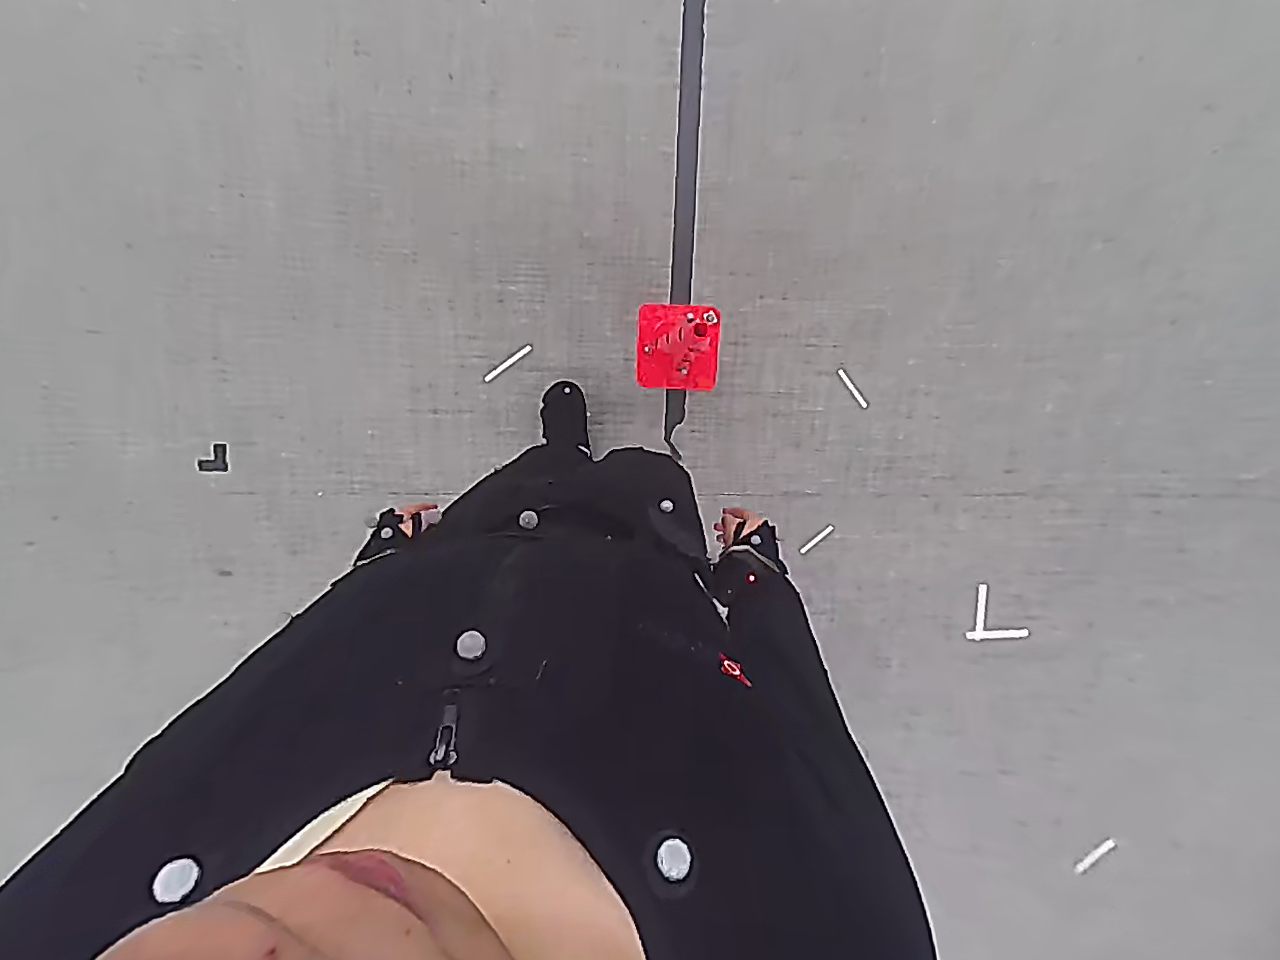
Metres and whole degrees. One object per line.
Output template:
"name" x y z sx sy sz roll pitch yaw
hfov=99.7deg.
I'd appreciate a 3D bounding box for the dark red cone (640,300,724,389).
"dark red cone" 0.103 -0.294 1.125 0.201 0.394 0.202 1 99 -2
